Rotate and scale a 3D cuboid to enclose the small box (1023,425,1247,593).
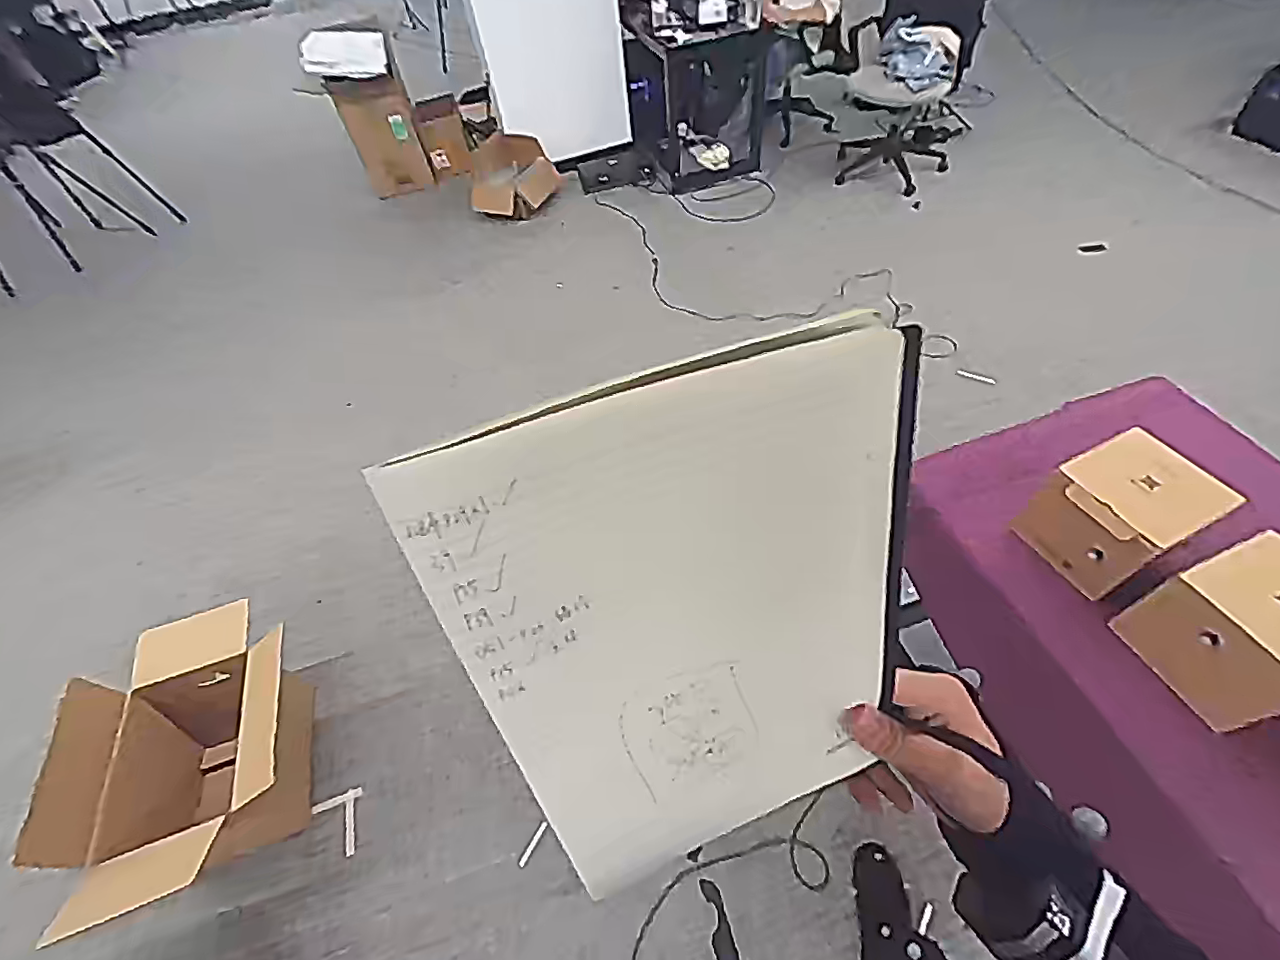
[{"bbox_3d":[0.753,0.051,0.853,0.179,0.176,0.168,-24,54,-11],"label":"small box"}]
